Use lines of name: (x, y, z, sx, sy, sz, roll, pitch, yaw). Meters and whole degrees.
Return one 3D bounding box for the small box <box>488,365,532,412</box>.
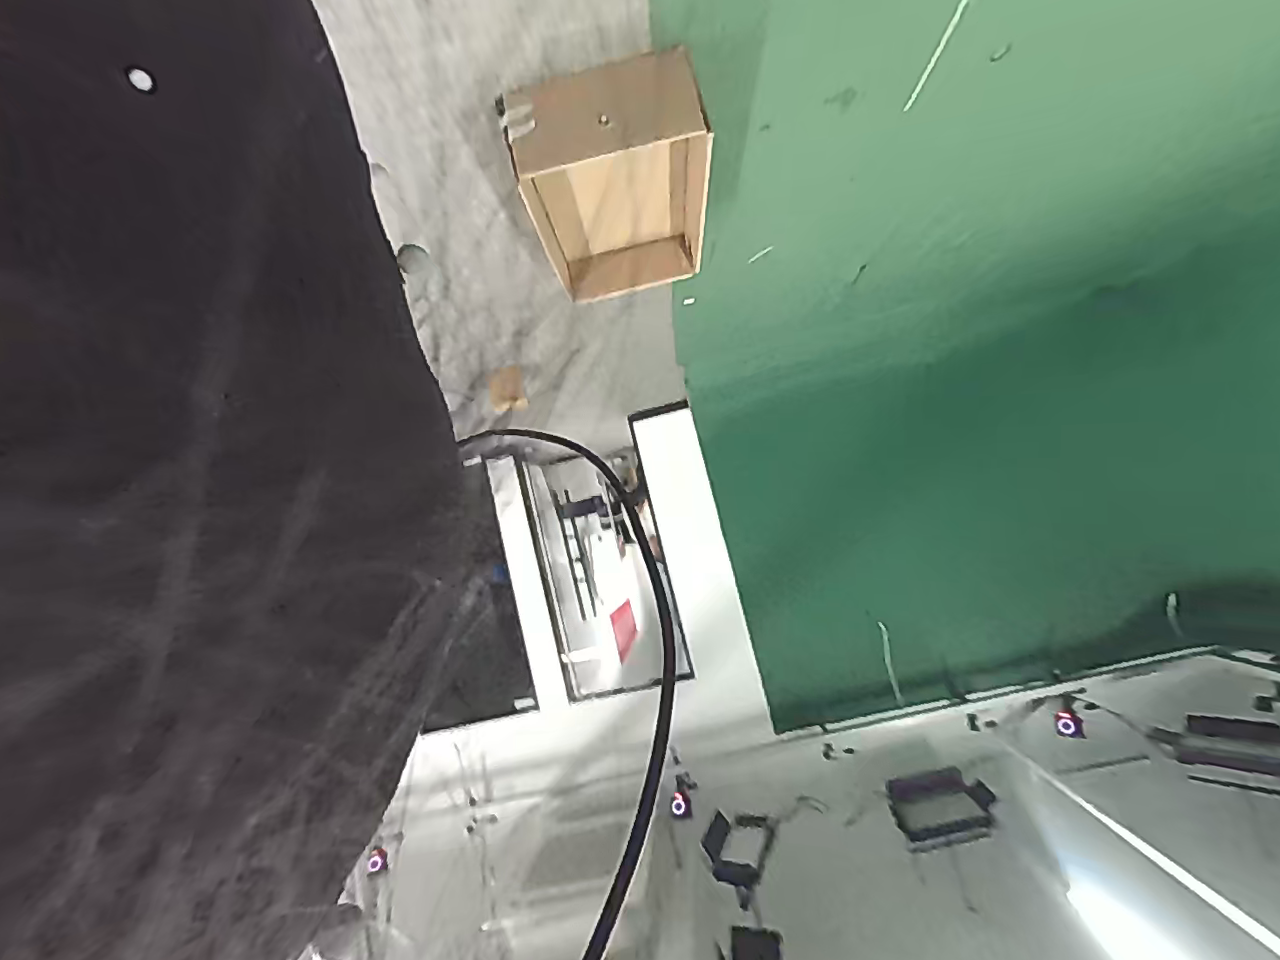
small box: (-0.631, -0.449, 2.624, 0.168, 0.176, 0.179, -13, 175, -8)
